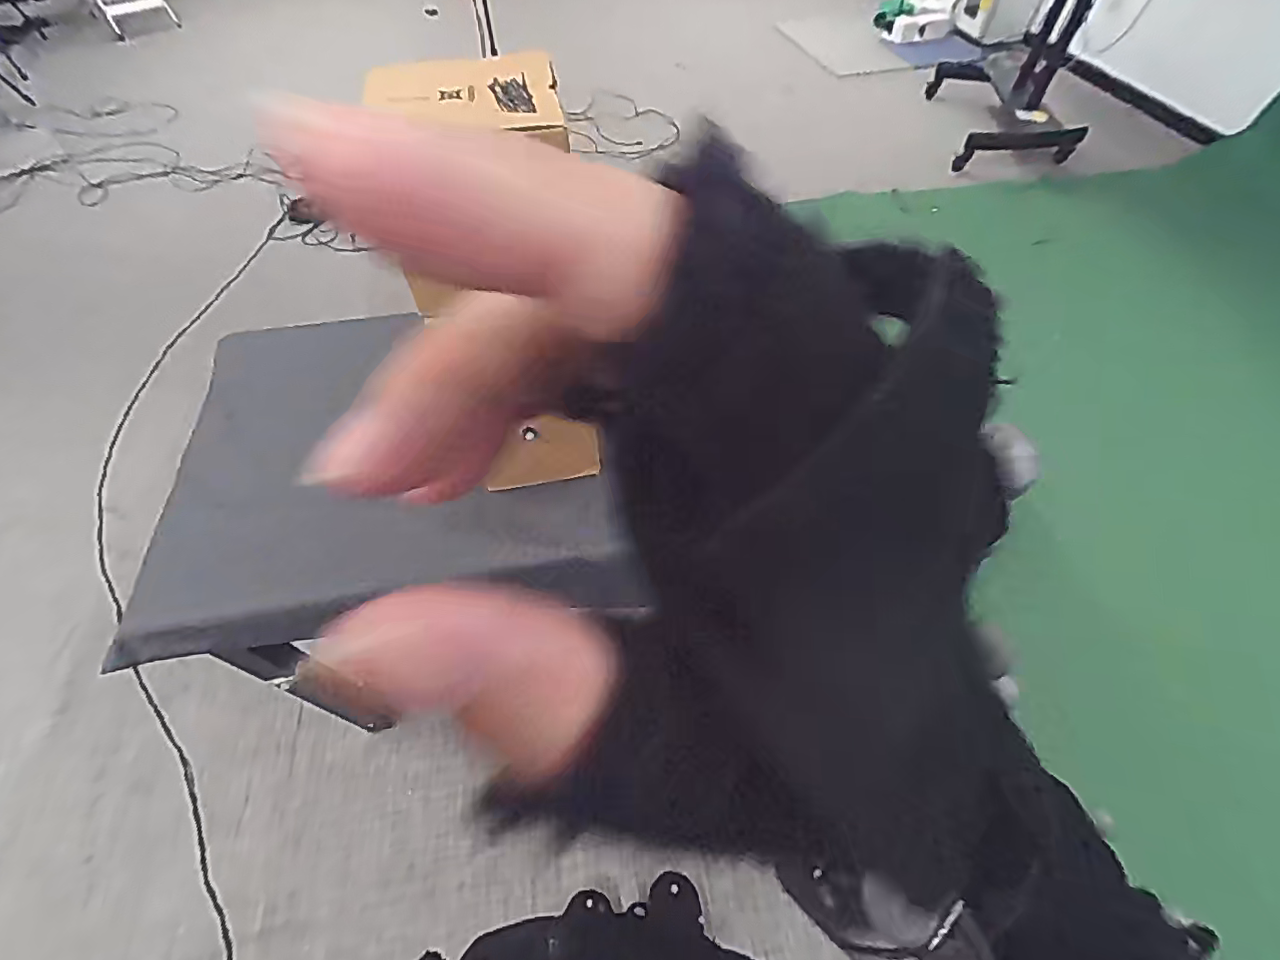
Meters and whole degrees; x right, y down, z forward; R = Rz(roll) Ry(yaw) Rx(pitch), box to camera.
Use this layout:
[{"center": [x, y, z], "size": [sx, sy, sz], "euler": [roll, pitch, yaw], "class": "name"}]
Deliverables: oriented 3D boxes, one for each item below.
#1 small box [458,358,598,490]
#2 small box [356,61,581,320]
[{"center": [-0.164, -0.102, 0.815], "size": [0.179, 0.176, 0.168], "euler": [-9, 55, -7], "class": "small box"}, {"center": [-0.157, -0.285, 0.542], "size": [0.179, 0.176, 0.168], "euler": [-11, 55, -9], "class": "small box"}]
